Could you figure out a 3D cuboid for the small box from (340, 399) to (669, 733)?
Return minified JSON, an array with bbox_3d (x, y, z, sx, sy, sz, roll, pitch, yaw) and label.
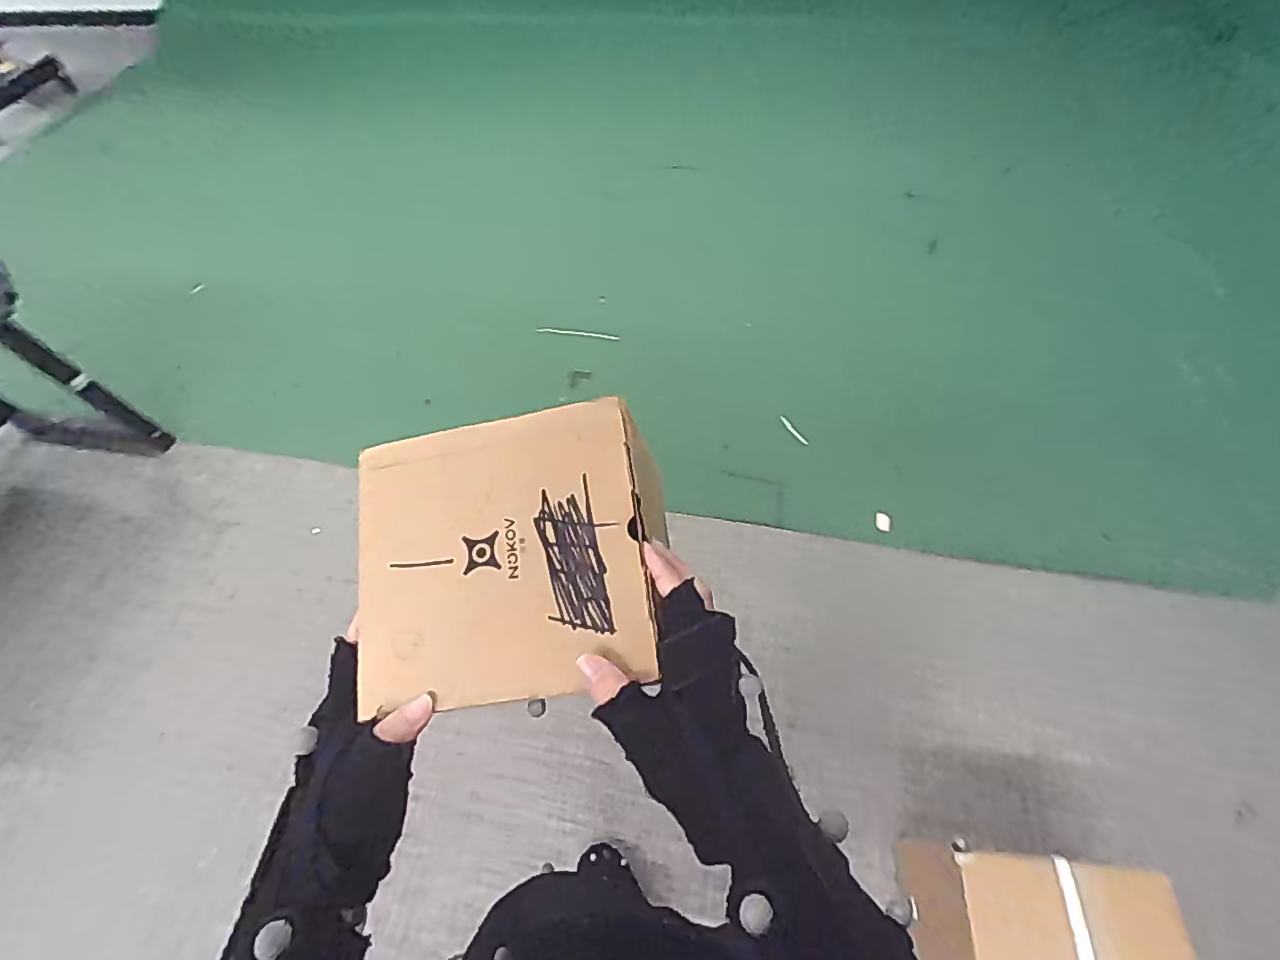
[{"bbox_3d":[-0.078,0.064,0.388,0.179,0.176,0.168,-13,73,4],"label":"small box"}]
